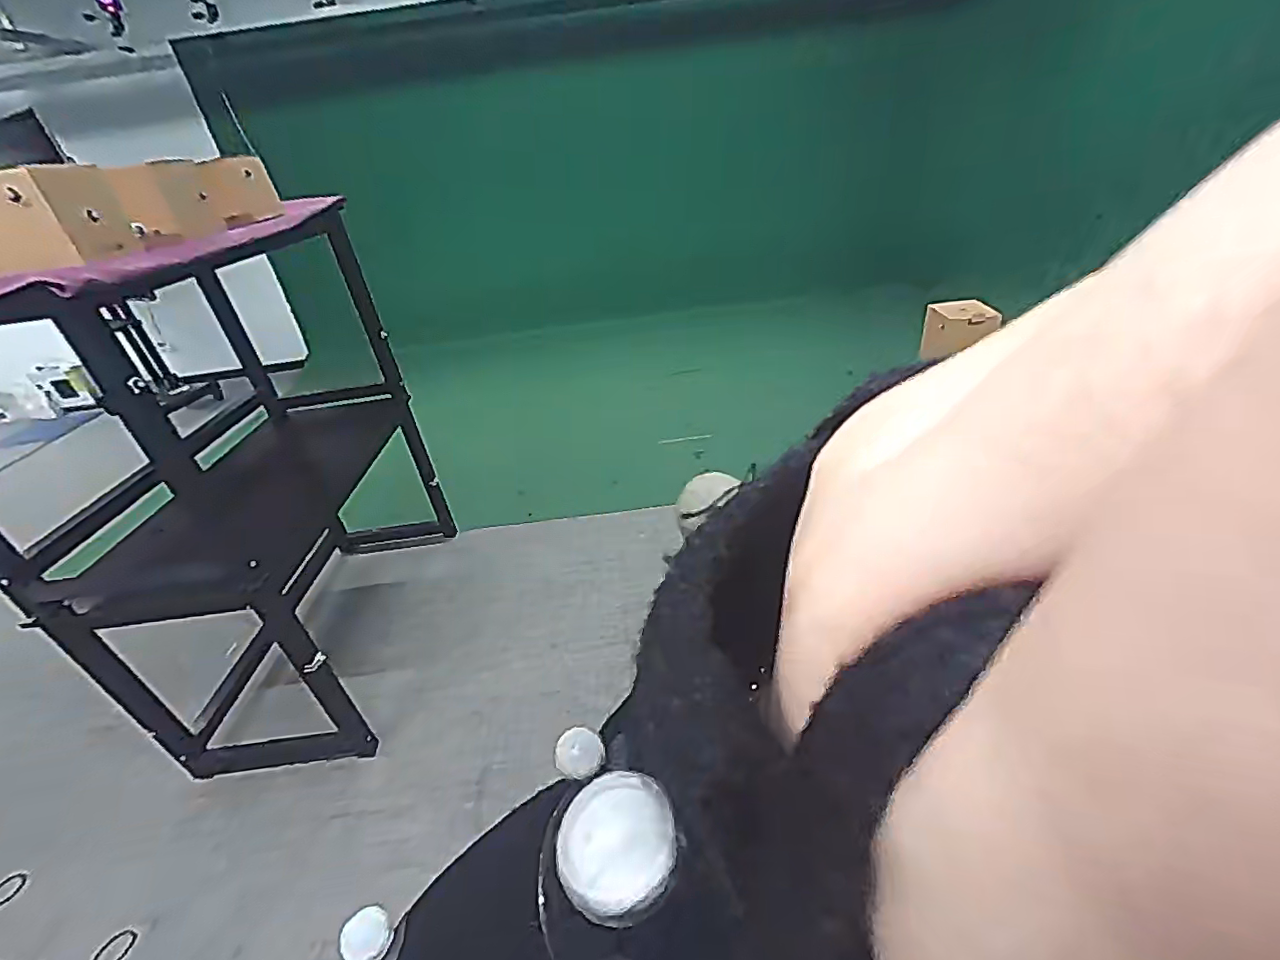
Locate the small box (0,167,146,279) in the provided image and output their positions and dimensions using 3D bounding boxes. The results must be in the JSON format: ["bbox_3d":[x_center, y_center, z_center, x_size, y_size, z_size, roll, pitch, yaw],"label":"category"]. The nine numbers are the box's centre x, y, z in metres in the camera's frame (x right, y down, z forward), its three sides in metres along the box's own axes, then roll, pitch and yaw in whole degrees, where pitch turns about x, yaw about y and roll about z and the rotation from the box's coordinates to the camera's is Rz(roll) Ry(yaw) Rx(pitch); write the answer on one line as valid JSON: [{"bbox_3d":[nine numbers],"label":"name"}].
[{"bbox_3d":[-1.133,-0.499,1.047,0.179,0.176,0.168,-8,31,0],"label":"small box"}]

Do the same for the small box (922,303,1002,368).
[{"bbox_3d":[1.109,-0.503,1.882,0.168,0.176,0.179,-5,35,3],"label":"small box"}]

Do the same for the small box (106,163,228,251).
[{"bbox_3d":[-1.160,-0.666,1.321,0.168,0.176,0.179,-8,33,0],"label":"small box"}]

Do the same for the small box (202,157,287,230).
[{"bbox_3d":[-1.204,-0.851,1.614,0.168,0.176,0.179,-9,32,3],"label":"small box"}]

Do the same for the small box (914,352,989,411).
[{"bbox_3d":[1.125,-0.366,1.970,0.168,0.176,0.179,-7,33,2],"label":"small box"}]
